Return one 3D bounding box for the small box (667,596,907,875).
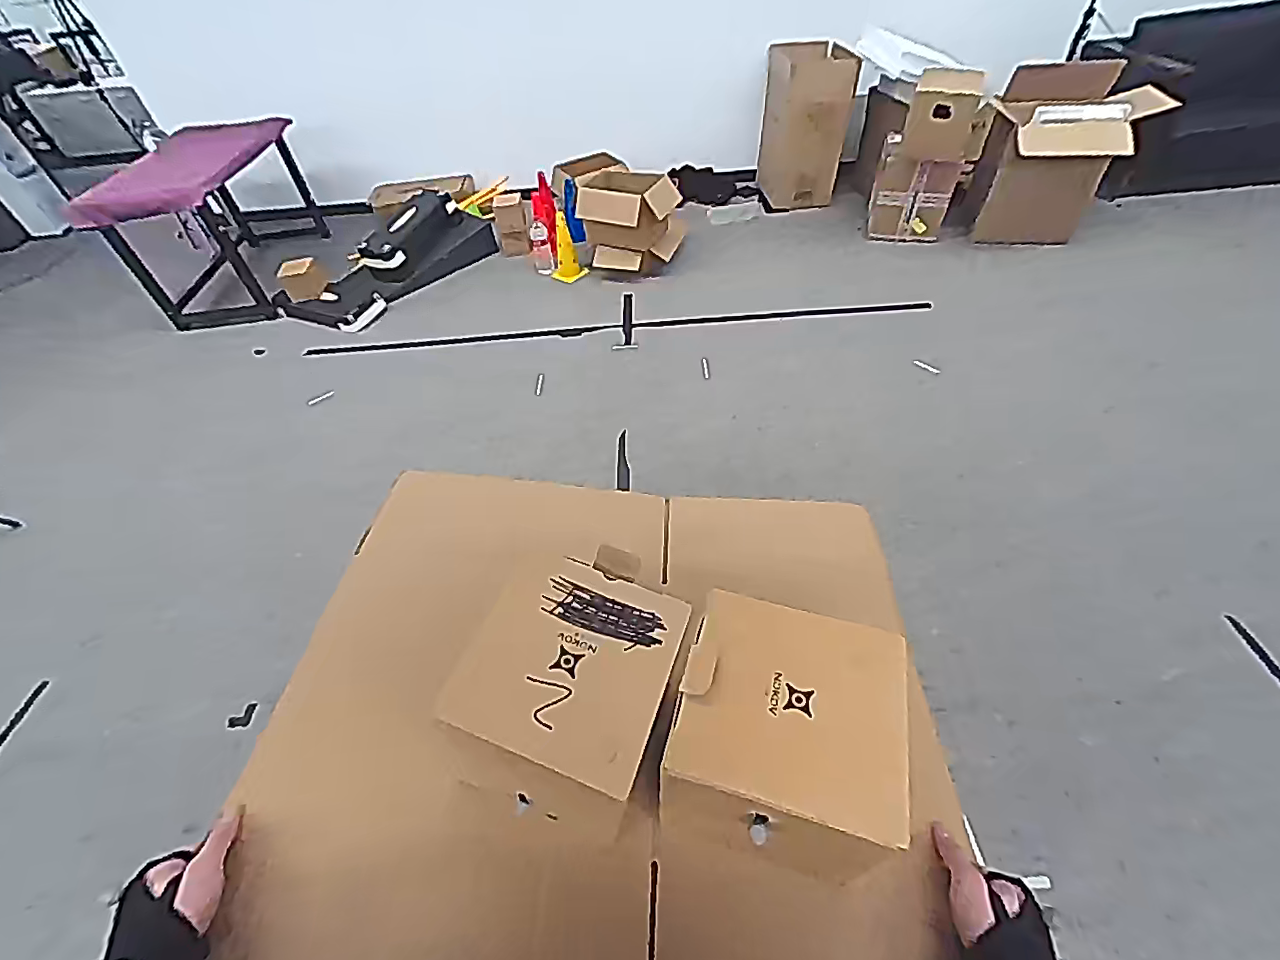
[{"bbox_3d":[0.130,0.239,0.504,0.179,0.176,0.168,11,47,14],"label":"small box"}]
